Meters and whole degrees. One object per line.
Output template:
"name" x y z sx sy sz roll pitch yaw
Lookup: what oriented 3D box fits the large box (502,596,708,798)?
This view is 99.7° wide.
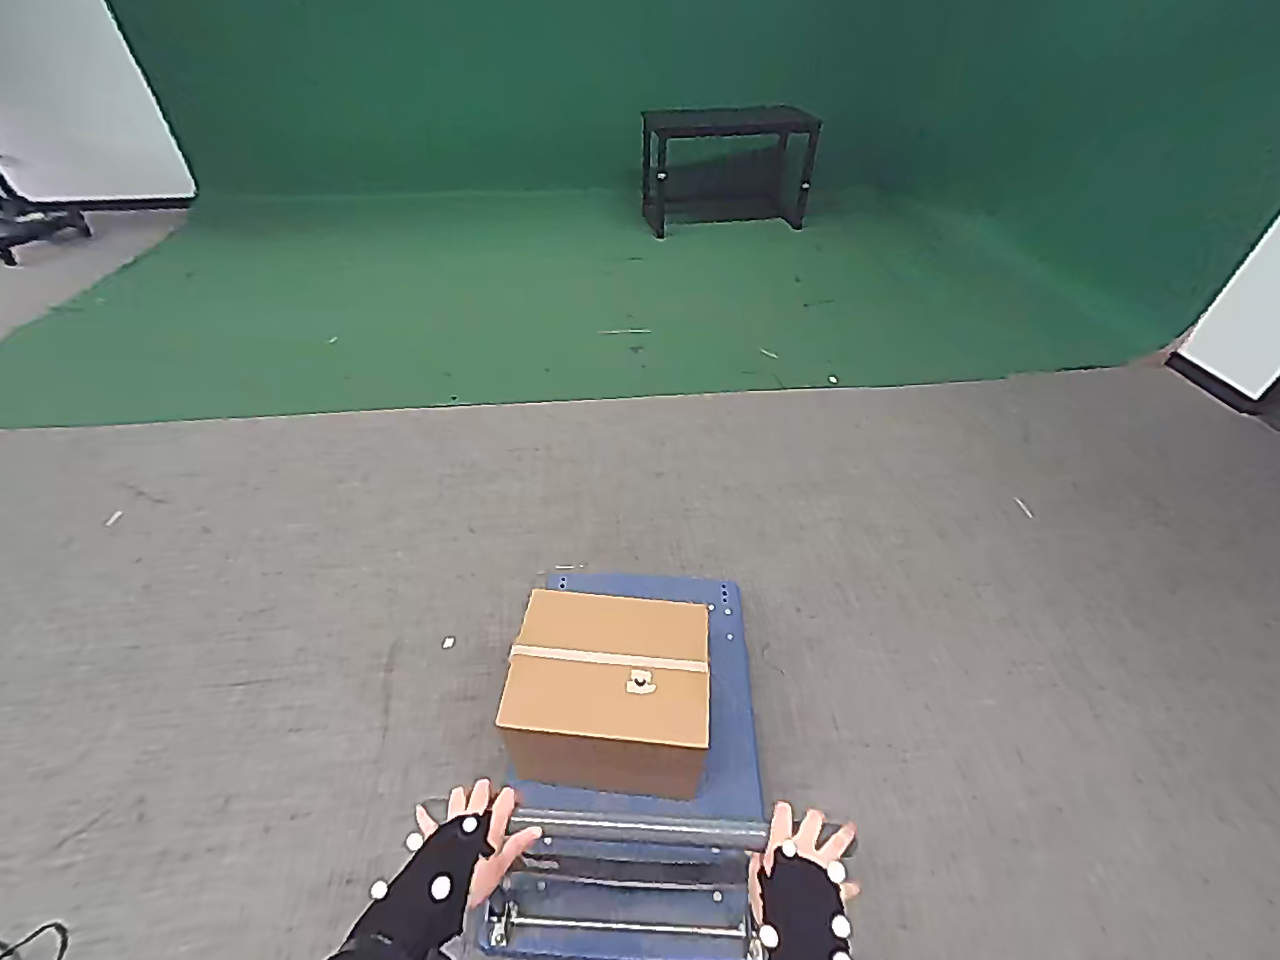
"large box" -0.065 0.495 1.236 0.408 0.320 0.320 5 43 2
